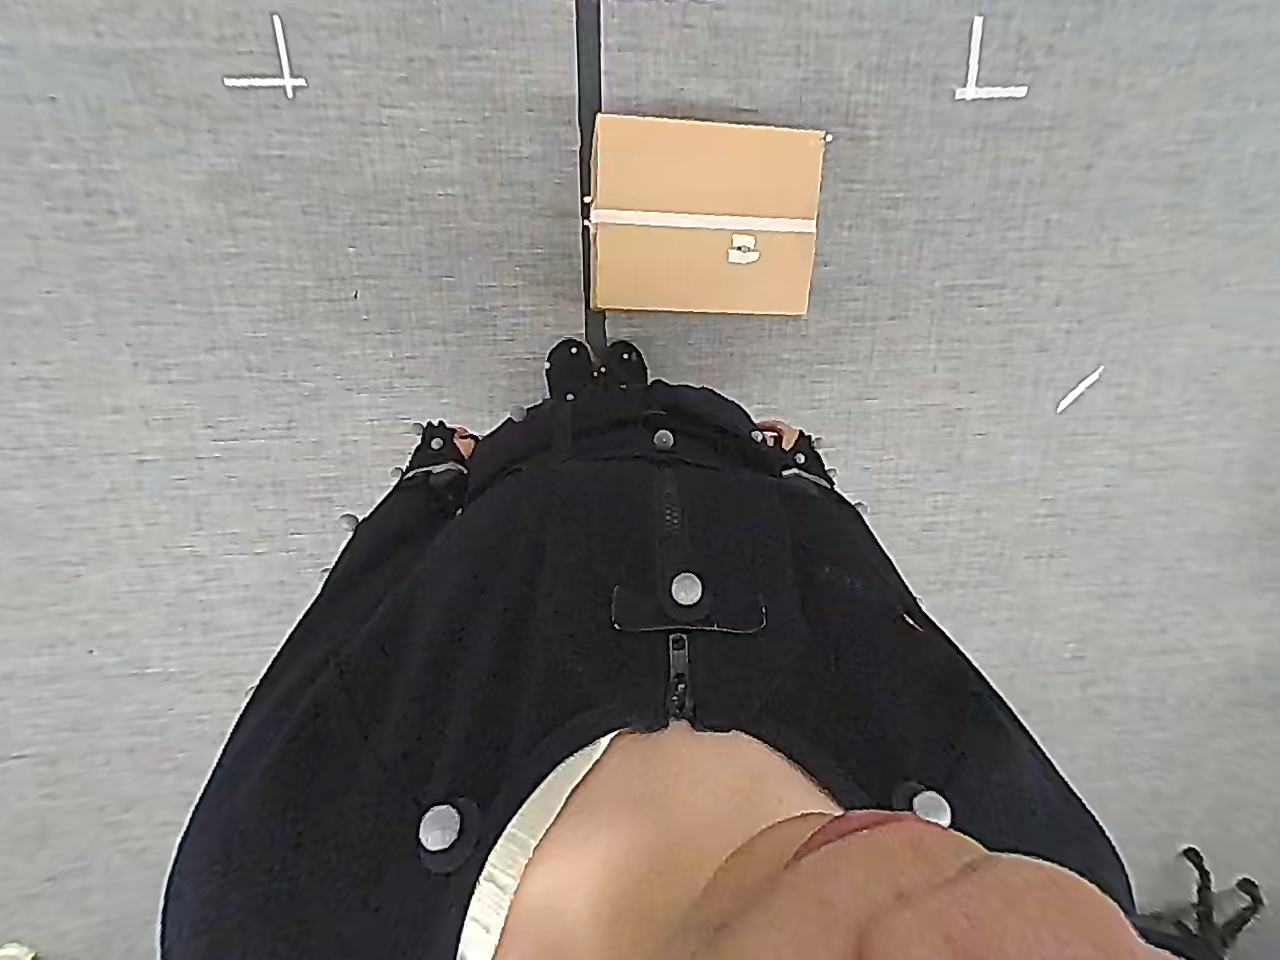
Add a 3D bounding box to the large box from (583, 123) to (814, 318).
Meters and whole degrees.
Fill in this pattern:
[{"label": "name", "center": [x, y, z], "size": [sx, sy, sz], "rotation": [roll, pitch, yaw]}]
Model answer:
[{"label": "large box", "center": [0.092, -0.501, 1.120], "size": [0.408, 0.320, 0.320], "rotation": [-1, 107, -8]}]
